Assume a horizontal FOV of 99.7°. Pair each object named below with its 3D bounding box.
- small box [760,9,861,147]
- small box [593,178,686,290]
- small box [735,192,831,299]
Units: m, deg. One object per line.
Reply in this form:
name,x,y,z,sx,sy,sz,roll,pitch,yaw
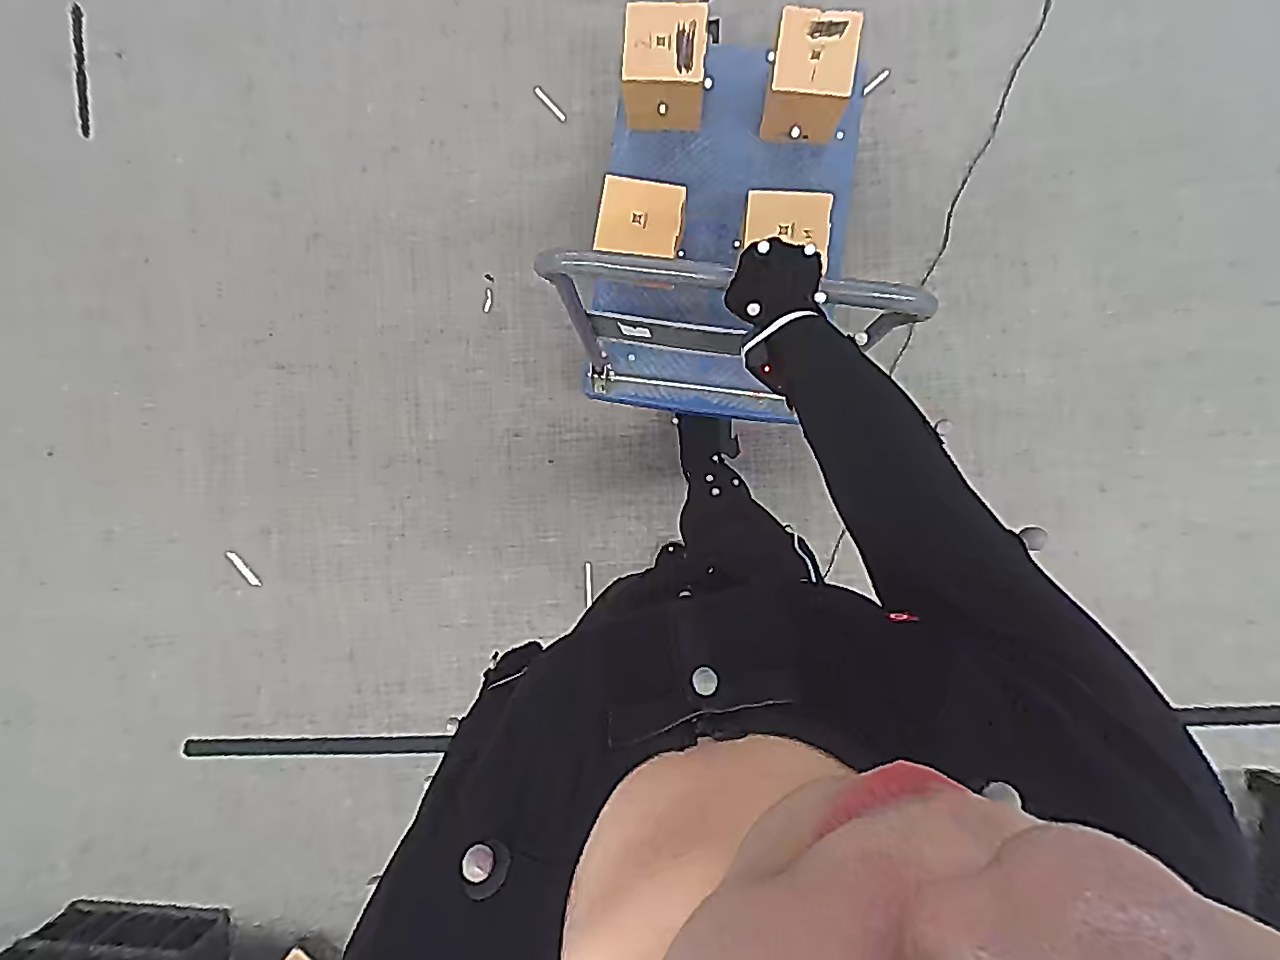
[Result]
small box,0.368,-0.882,1.198,0.168,0.176,0.179,8,92,4
small box,0.002,-0.548,1.224,0.179,0.176,0.168,10,90,2
small box,0.309,-0.513,1.203,0.179,0.176,0.168,5,91,4
